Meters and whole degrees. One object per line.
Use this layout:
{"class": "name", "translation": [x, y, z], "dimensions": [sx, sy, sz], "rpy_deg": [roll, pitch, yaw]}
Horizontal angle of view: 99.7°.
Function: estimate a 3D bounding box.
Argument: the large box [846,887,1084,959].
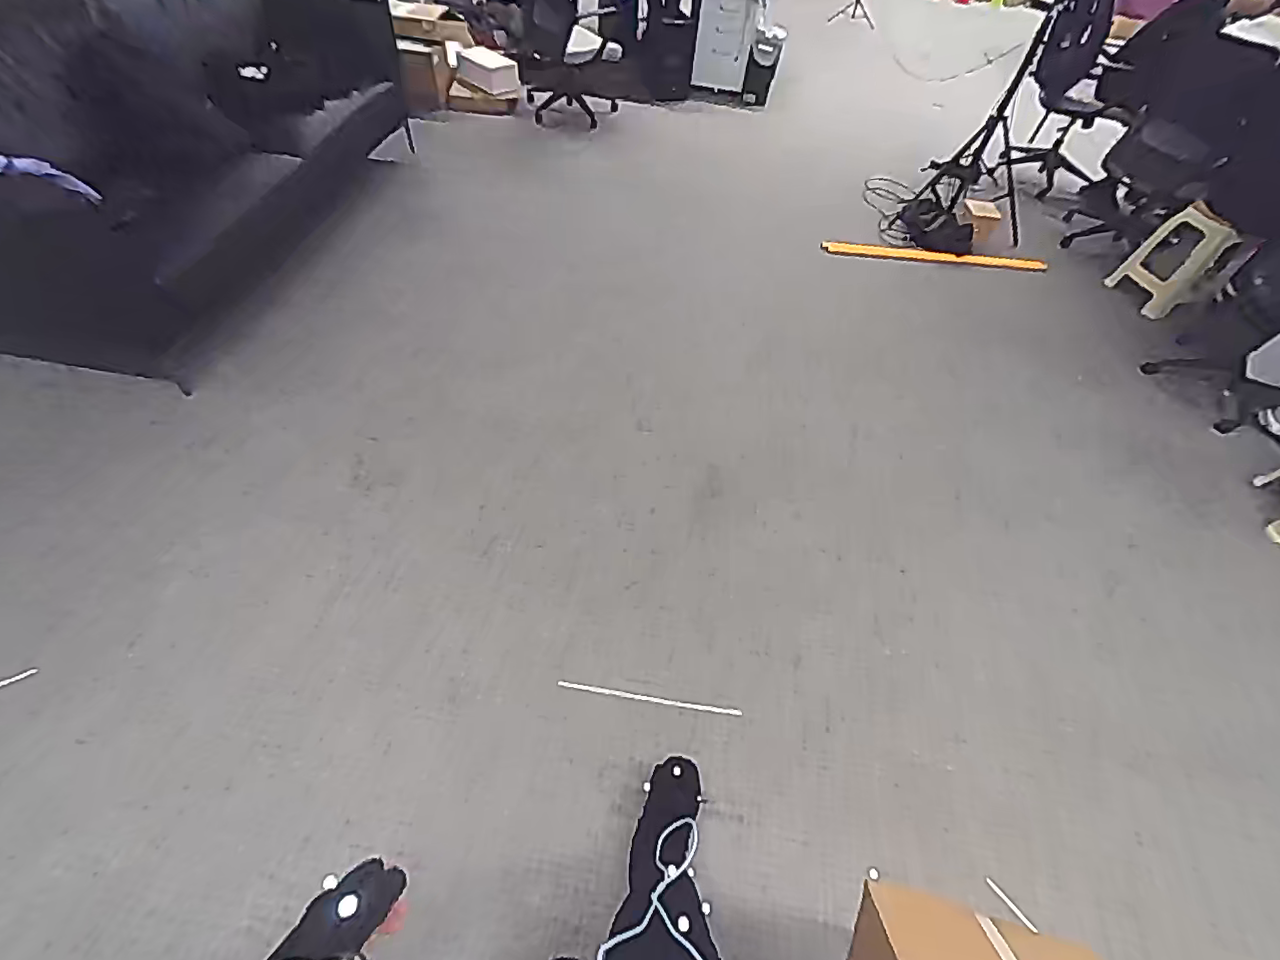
{"class": "large box", "translation": [0.415, 0.770, 0.578], "dimensions": [0.320, 0.408, 0.320], "rpy_deg": [15, 90, 7]}
